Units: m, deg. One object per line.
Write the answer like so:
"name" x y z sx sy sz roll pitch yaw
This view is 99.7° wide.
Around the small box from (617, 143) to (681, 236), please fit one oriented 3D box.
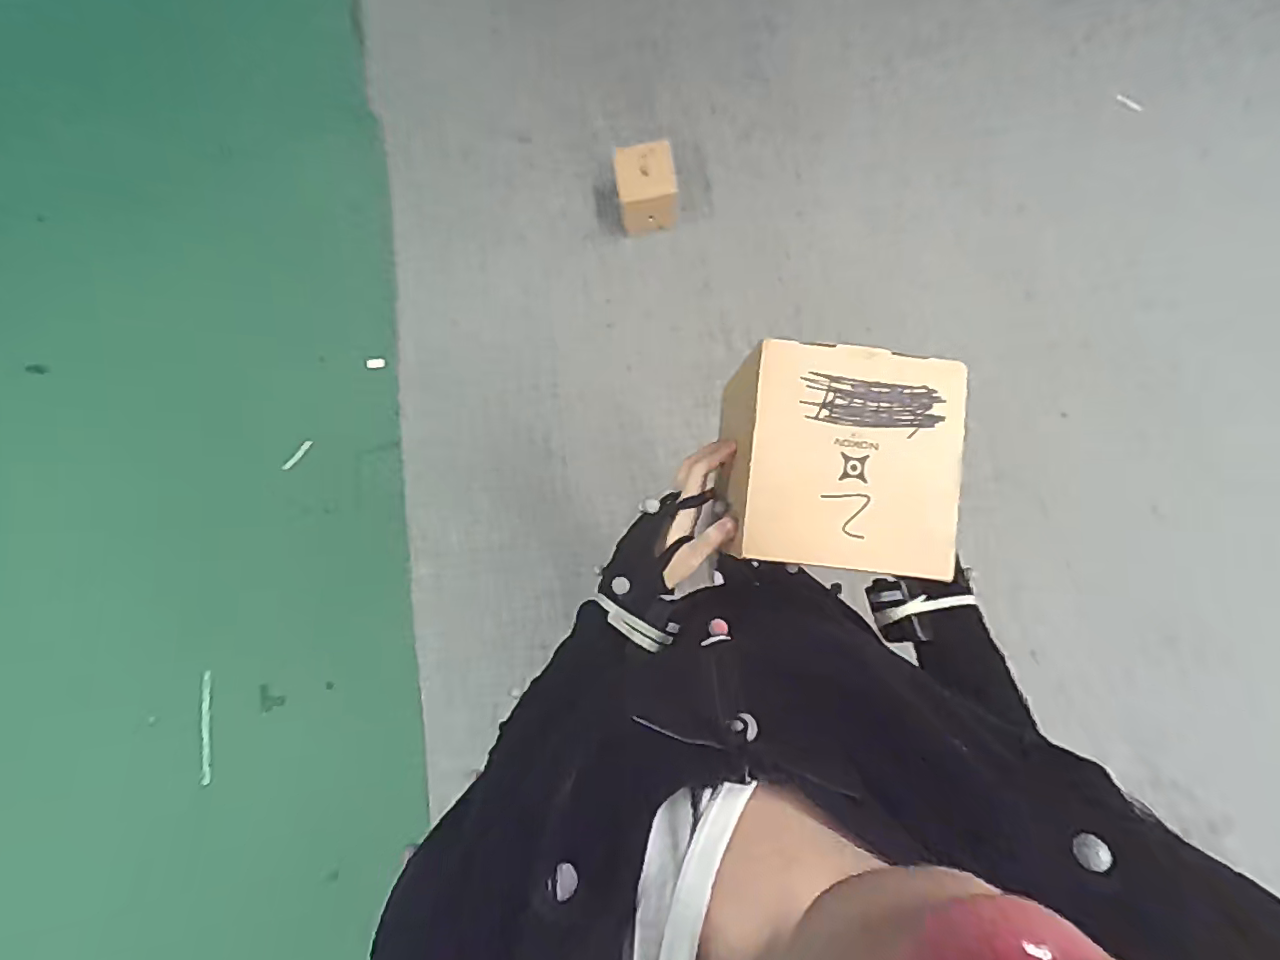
"small box" 0.030 -0.856 1.615 0.168 0.176 0.179 -8 80 5
